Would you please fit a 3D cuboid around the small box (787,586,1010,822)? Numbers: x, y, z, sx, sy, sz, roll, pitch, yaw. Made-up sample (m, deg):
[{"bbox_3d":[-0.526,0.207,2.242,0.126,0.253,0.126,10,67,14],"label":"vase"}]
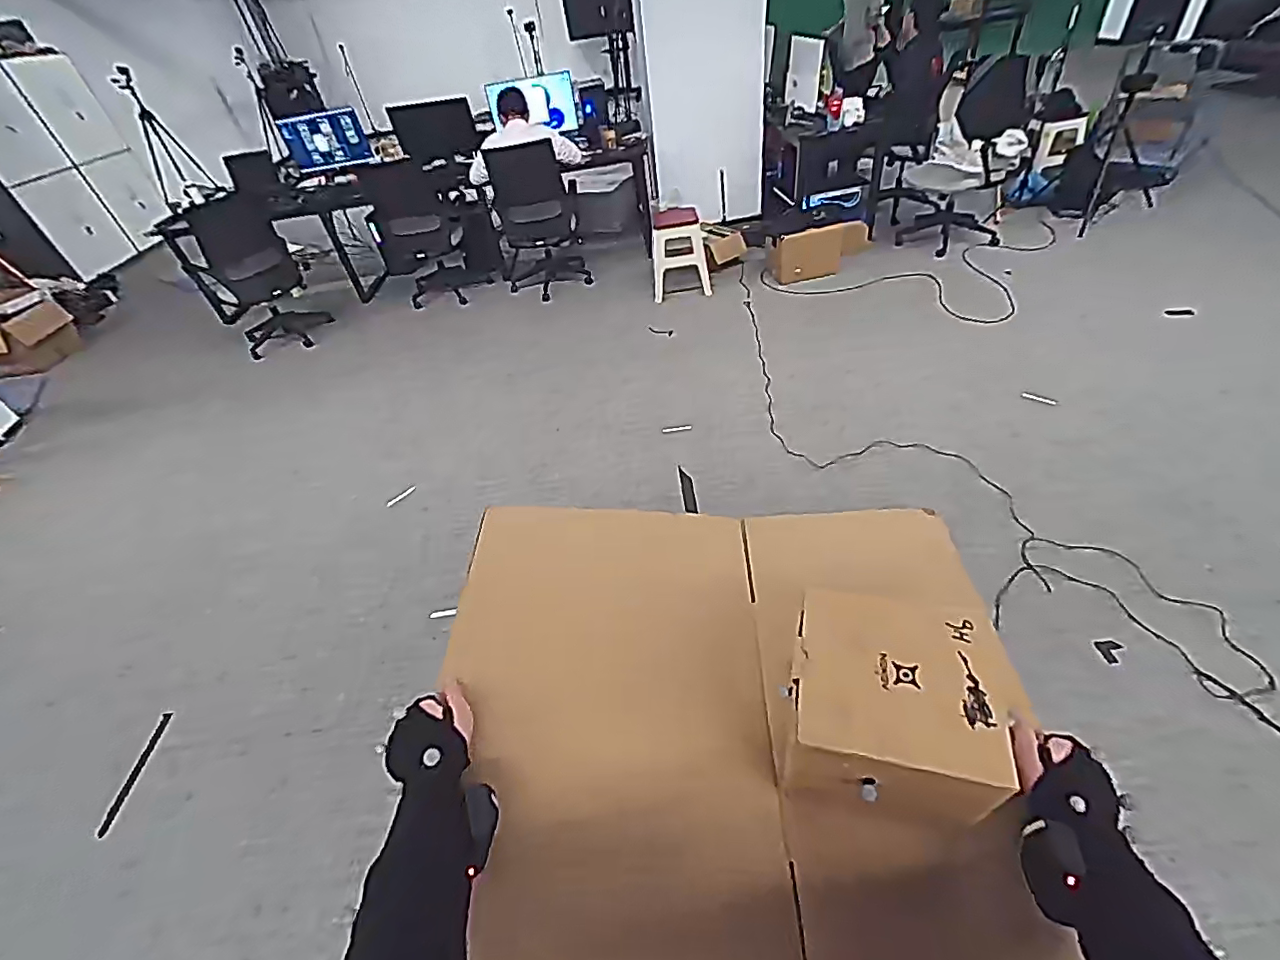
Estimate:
[{"bbox_3d":[0.251,0.236,0.570,0.179,0.176,0.168,5,48,16],"label":"small box"}]
